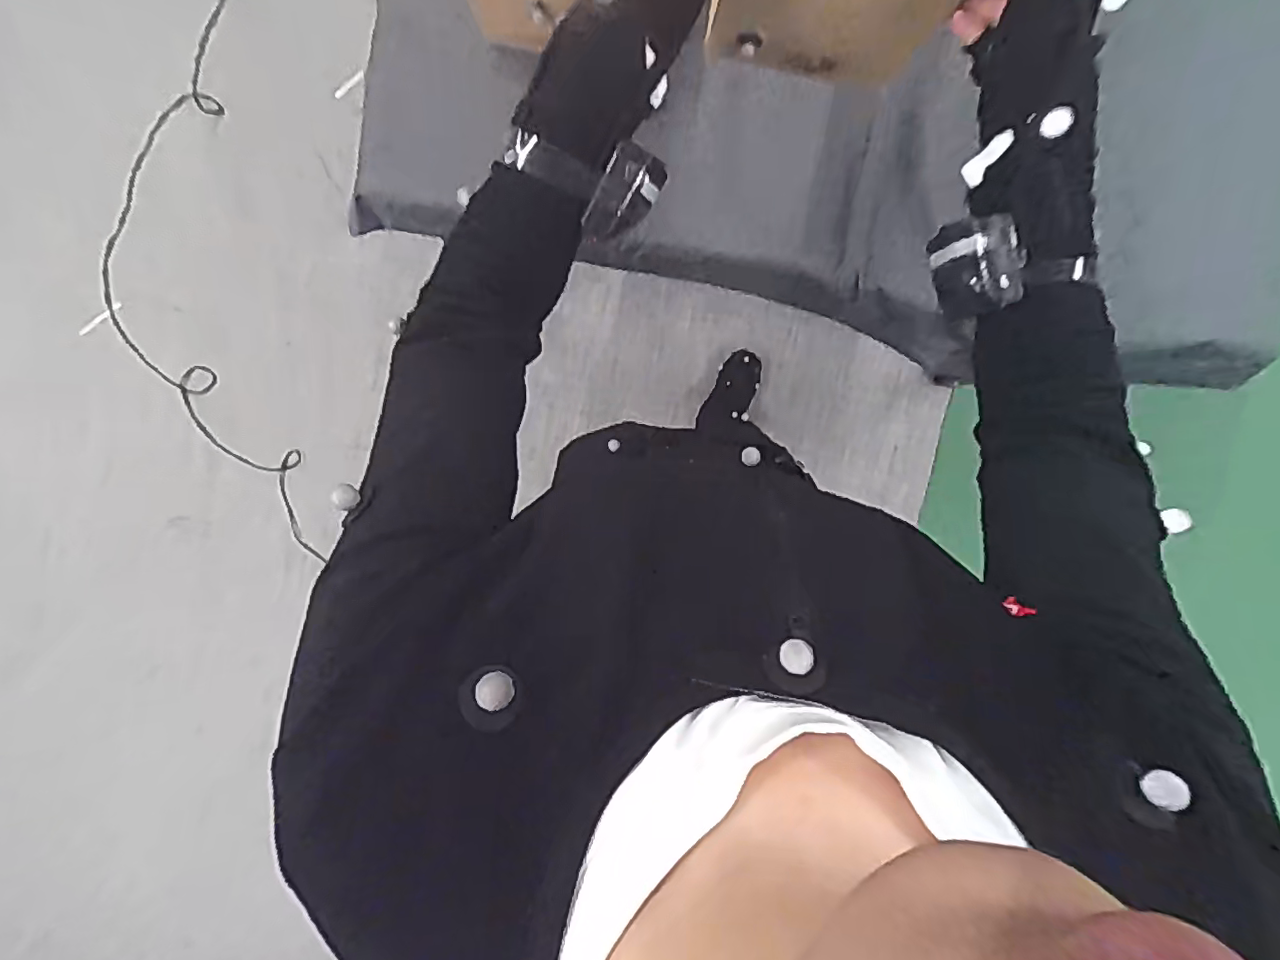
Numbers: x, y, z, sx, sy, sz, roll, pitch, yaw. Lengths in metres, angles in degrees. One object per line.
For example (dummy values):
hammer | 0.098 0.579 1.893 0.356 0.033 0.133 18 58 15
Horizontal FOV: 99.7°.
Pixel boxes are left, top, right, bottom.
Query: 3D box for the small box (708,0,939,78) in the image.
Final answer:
small box | 0.149 -0.432 0.380 0.168 0.176 0.179 8 96 -4

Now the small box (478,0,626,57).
small box | -0.095 -0.611 0.587 0.168 0.176 0.179 9 96 -1
